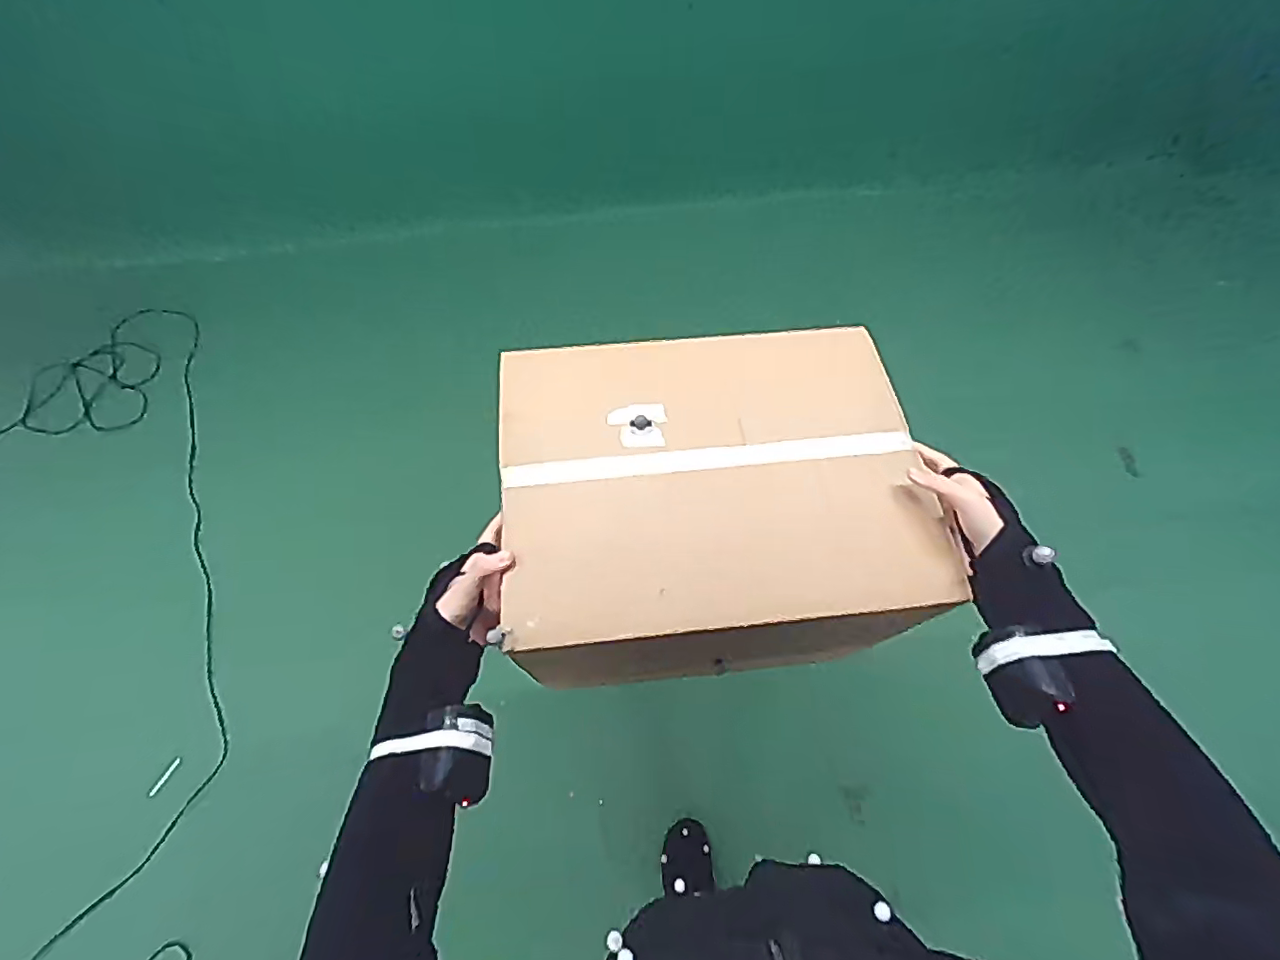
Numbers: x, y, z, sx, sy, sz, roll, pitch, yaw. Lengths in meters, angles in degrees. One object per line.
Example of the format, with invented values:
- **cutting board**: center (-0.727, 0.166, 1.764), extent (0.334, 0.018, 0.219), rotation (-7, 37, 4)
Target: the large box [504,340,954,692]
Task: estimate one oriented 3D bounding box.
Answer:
- **large box**: center (0.068, 0.064, 0.666), extent (0.408, 0.320, 0.320), rotation (-6, 62, -3)
